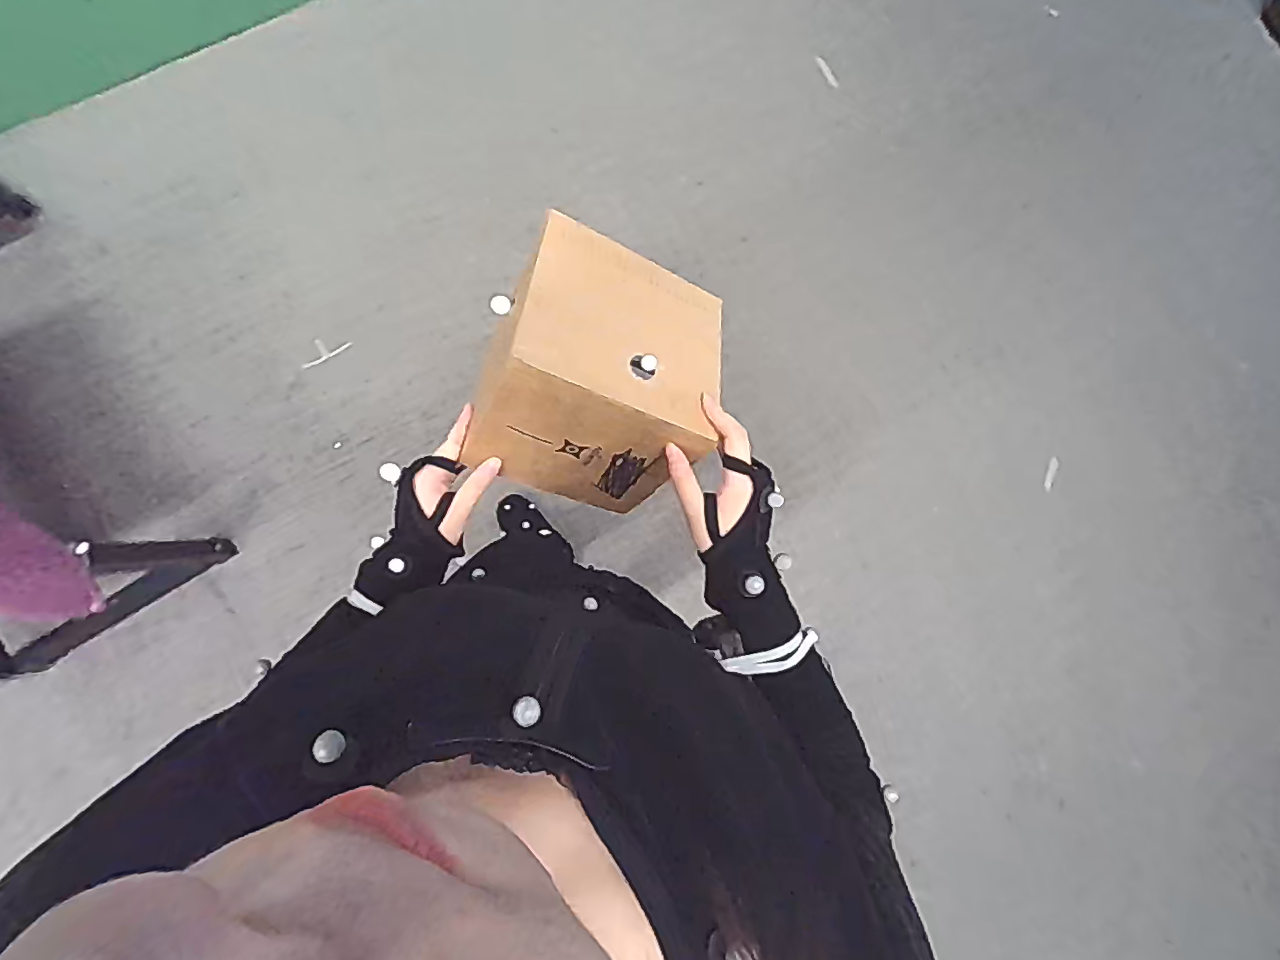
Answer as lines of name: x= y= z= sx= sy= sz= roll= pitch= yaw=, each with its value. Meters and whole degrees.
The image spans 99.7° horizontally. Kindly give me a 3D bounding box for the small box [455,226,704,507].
small box: x=-0.052 y=-0.099 z=0.512 sx=0.179 sy=0.168 sz=0.176 roll=20 pitch=57 yaw=-22
